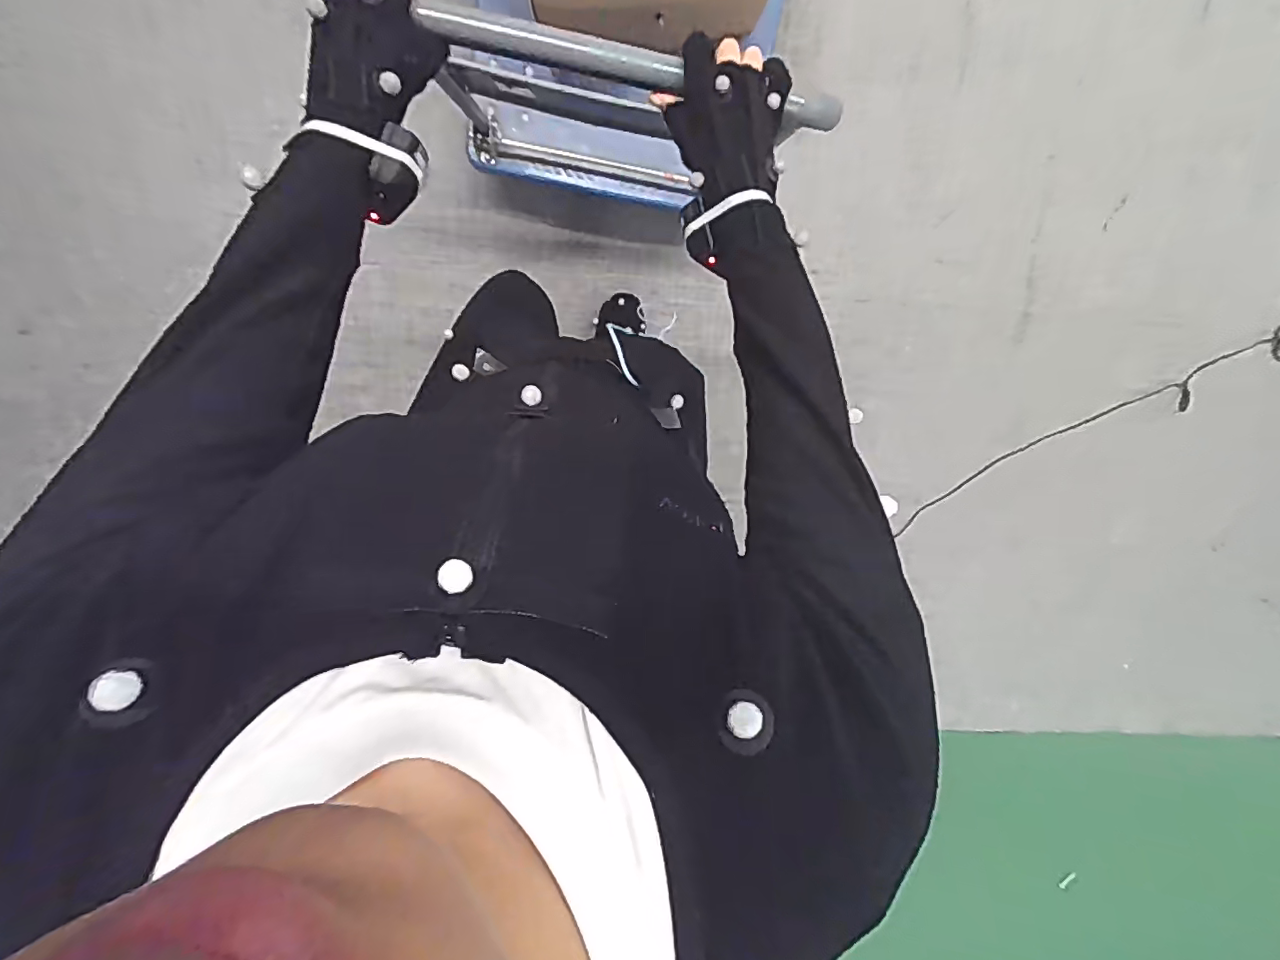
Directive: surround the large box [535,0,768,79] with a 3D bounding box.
[{"bbox_3d":[0.005,-0.932,0.882,0.408,0.320,0.320,-12,106,2],"label":"large box"}]
